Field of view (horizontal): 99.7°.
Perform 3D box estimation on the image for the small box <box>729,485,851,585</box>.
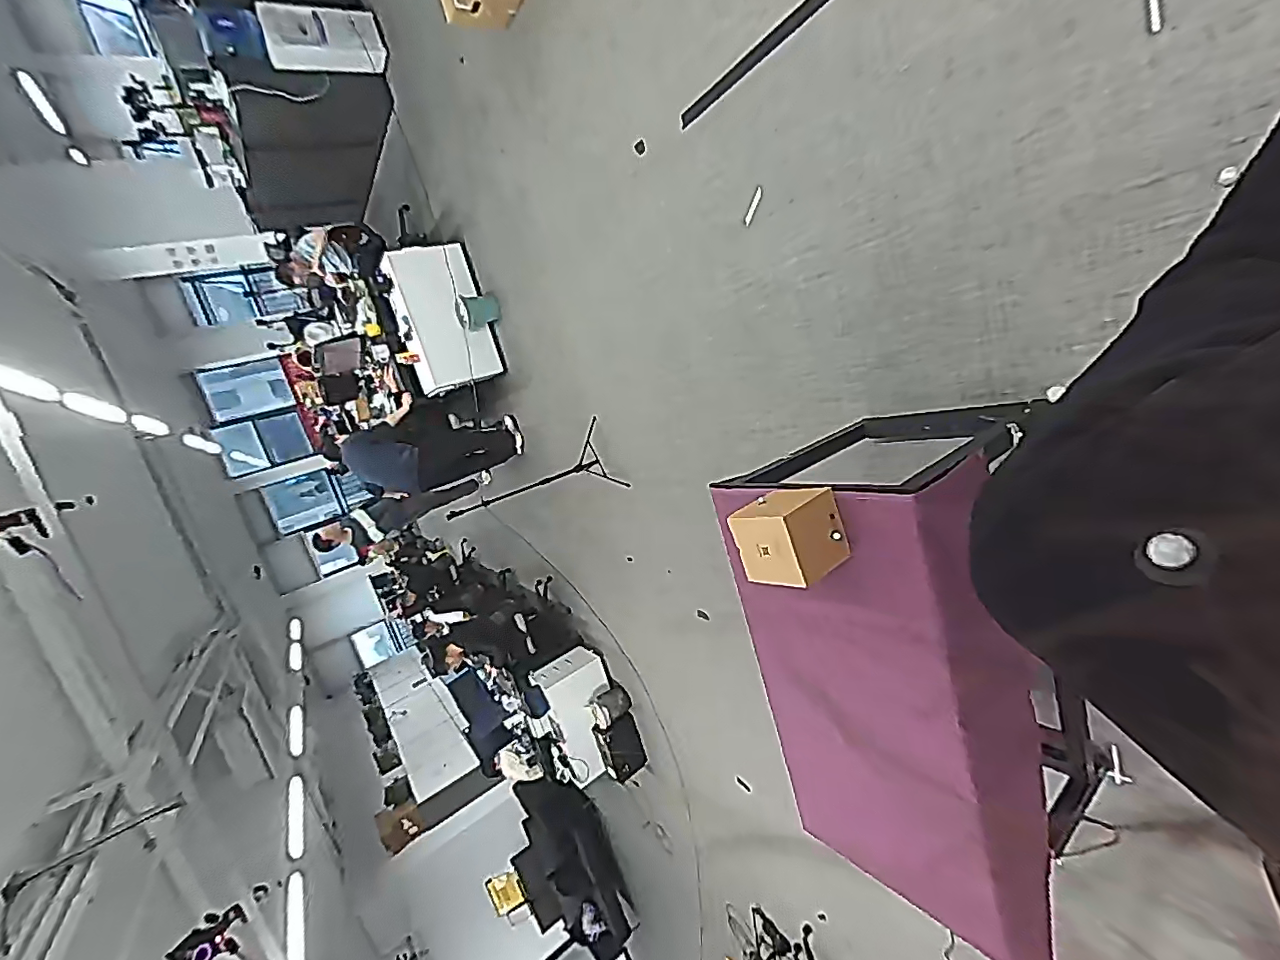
[{"bbox_3d":[0.340,0.118,1.227,0.179,0.176,0.168,-6,107,59],"label":"small box"}]
